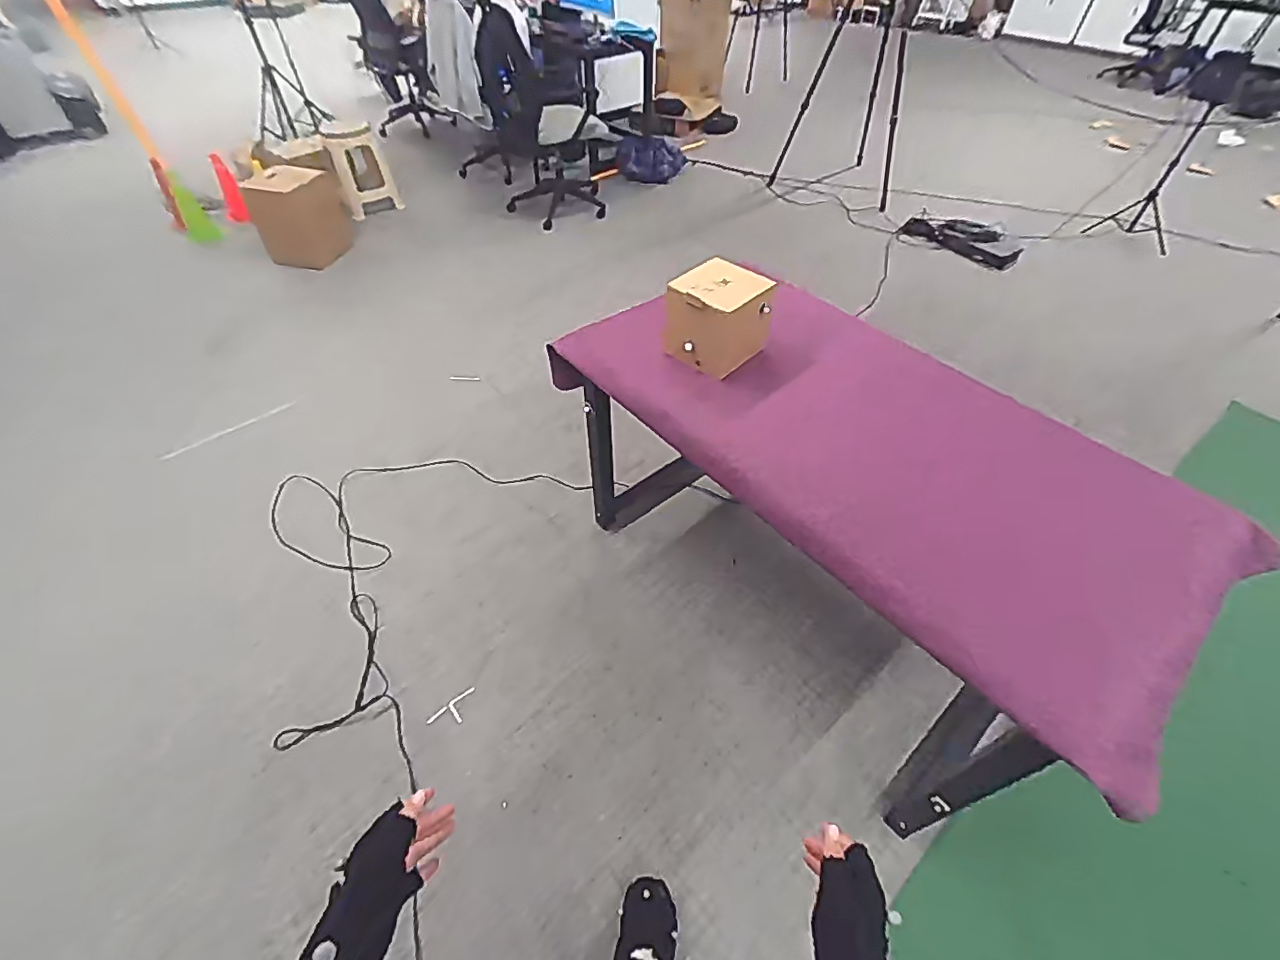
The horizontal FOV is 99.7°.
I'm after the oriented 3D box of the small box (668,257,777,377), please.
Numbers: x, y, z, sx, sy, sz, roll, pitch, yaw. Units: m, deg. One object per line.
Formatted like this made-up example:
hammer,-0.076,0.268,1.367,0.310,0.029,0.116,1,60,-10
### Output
small box,0.172,-0.359,1.195,0.168,0.176,0.179,35,57,28
